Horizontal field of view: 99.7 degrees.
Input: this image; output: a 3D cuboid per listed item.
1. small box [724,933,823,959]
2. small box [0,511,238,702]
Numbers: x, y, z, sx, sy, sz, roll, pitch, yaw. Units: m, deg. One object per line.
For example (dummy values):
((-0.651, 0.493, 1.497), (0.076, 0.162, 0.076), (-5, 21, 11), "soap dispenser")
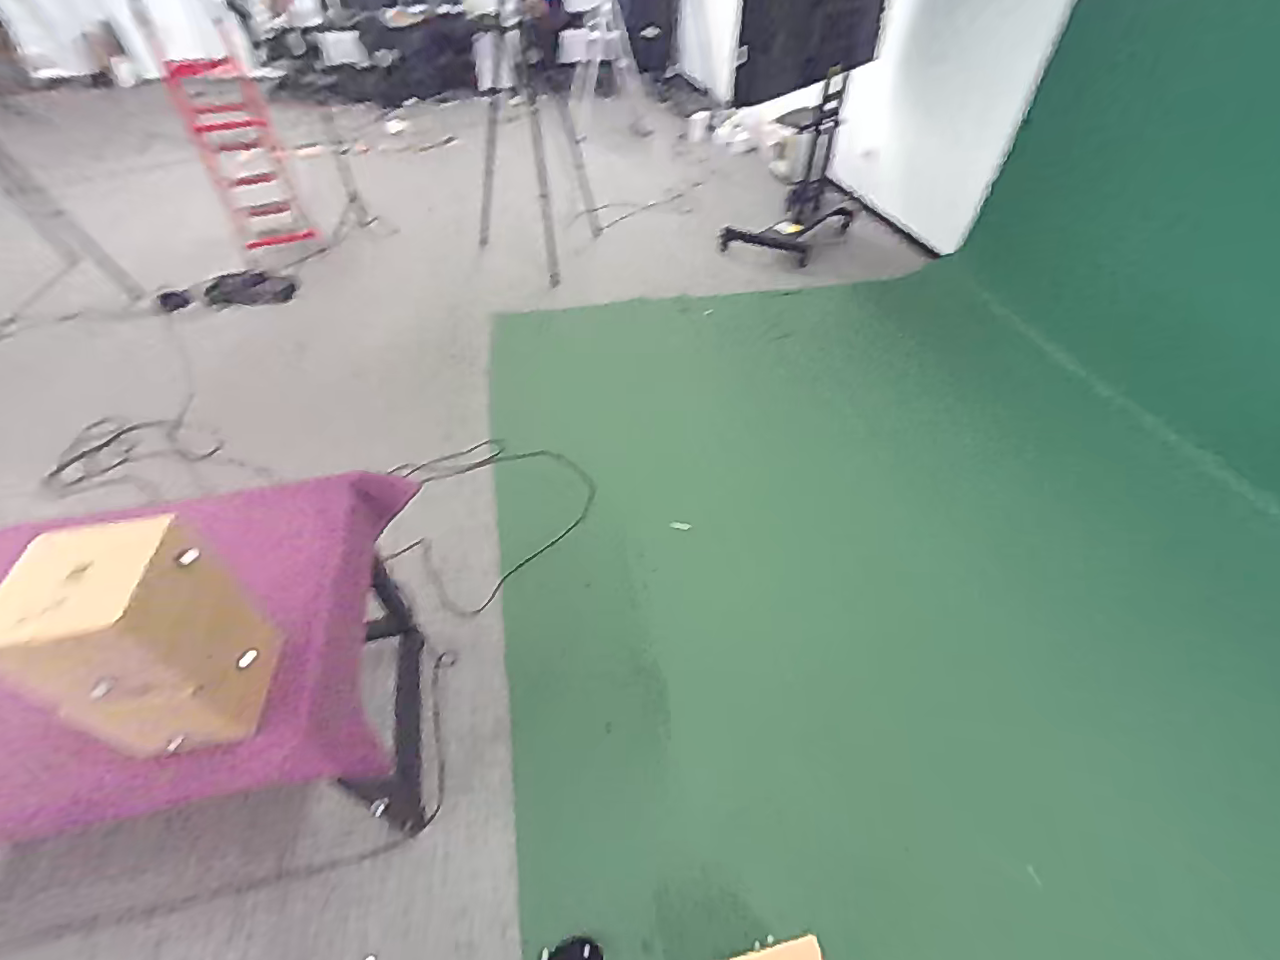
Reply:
((0.256, 0.969, 0.995), (0.179, 0.176, 0.168), (-8, 46, -10), "small box")
((-0.690, 0.170, 0.729), (0.168, 0.176, 0.179), (-9, 47, -7), "small box")
